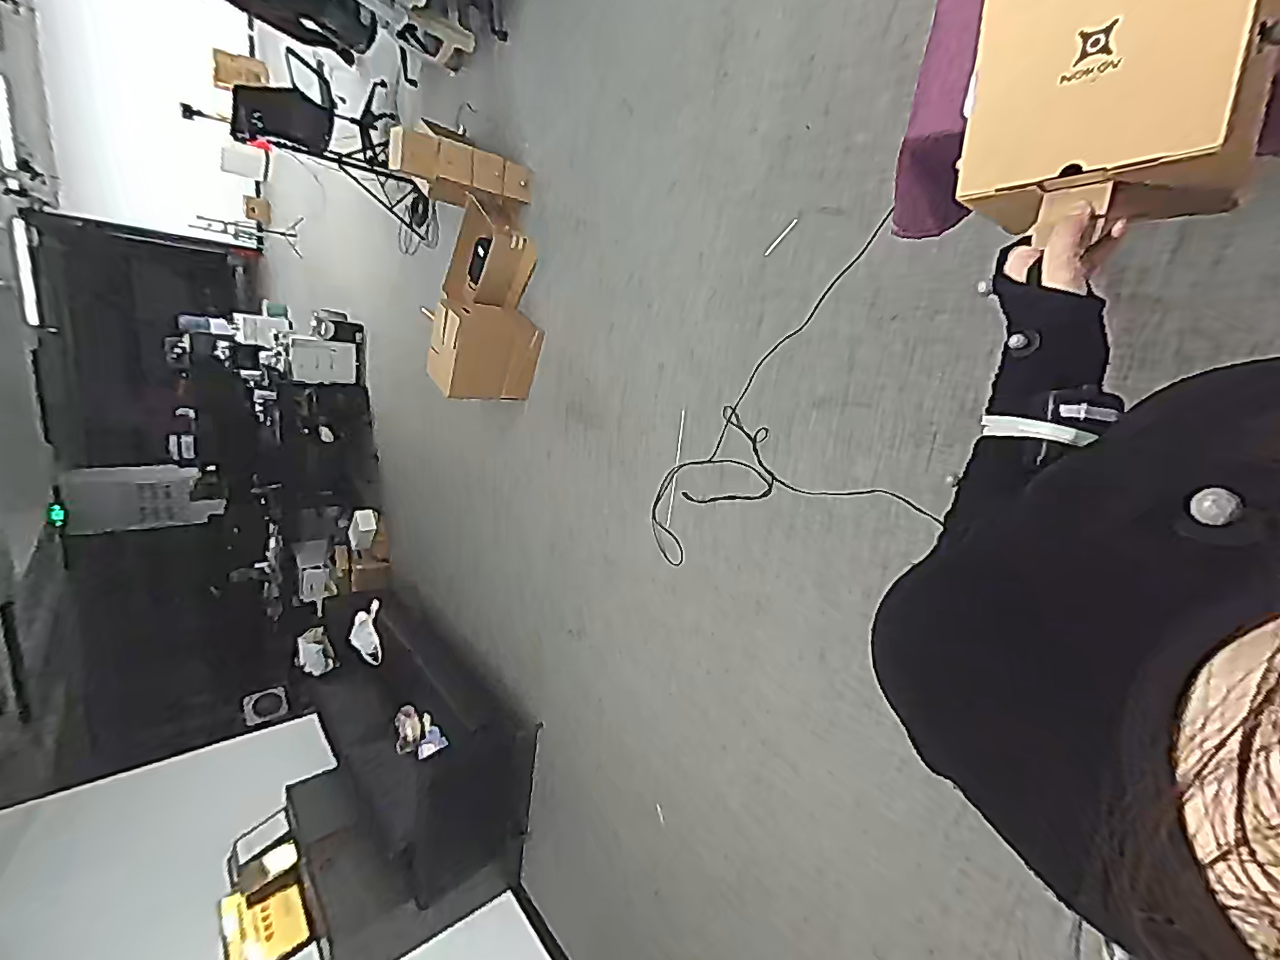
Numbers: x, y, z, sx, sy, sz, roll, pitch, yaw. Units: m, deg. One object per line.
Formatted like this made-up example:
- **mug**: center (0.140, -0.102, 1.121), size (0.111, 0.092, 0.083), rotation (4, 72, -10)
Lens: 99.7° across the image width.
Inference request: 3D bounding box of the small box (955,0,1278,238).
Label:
- **small box**: center (0.397, -0.321, 0.455), size (0.168, 0.176, 0.179), rotation (16, 107, 47)
